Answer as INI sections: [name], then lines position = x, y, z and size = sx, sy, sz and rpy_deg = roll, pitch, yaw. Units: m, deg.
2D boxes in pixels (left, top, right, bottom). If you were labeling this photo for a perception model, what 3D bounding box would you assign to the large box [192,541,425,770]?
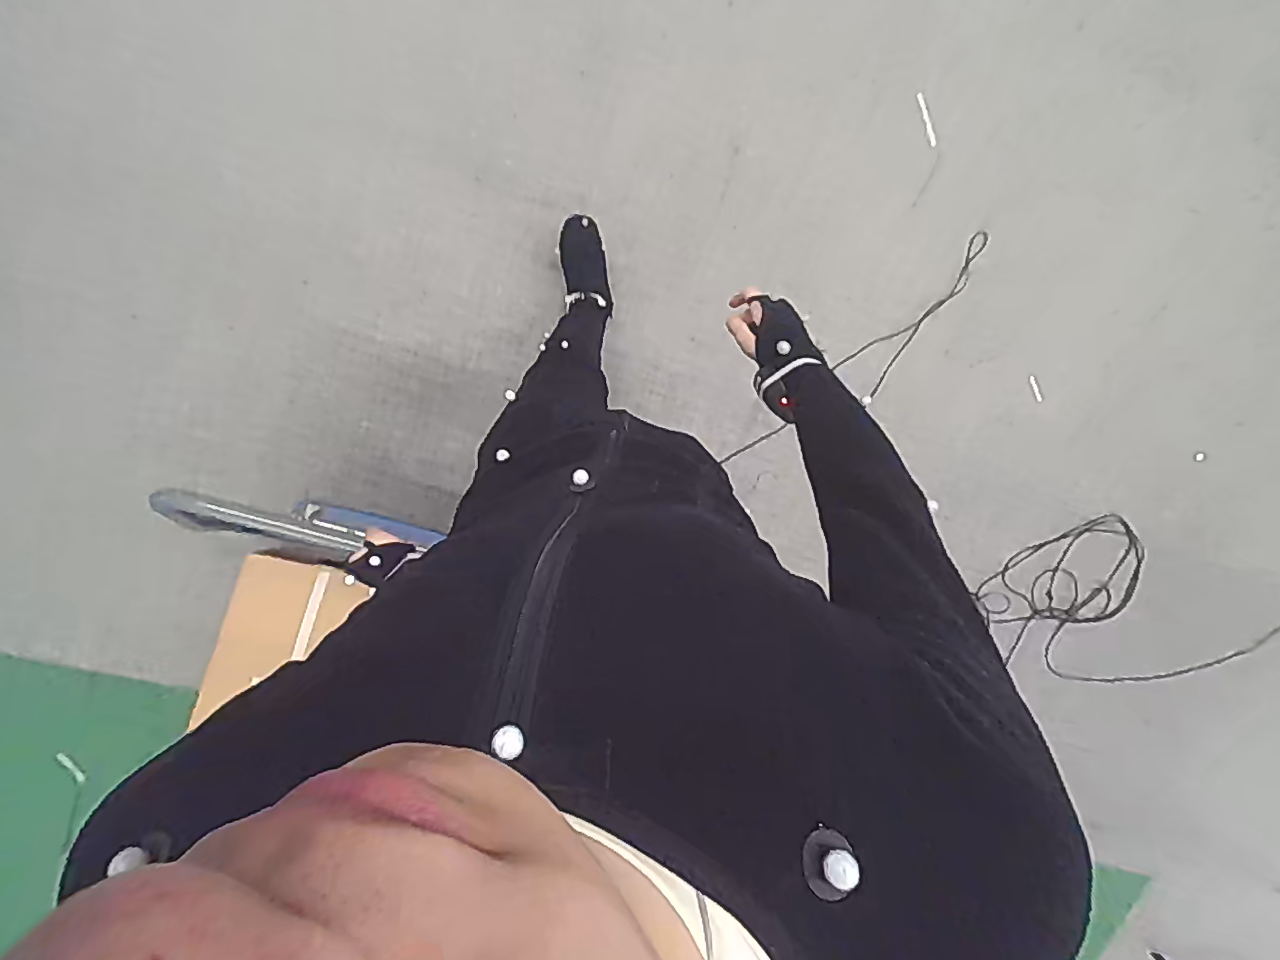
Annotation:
[large box]
position = -0.728, 0.379, 1.257
size = 0.320, 0.320, 0.408
rpy_deg = 16, 85, -12
